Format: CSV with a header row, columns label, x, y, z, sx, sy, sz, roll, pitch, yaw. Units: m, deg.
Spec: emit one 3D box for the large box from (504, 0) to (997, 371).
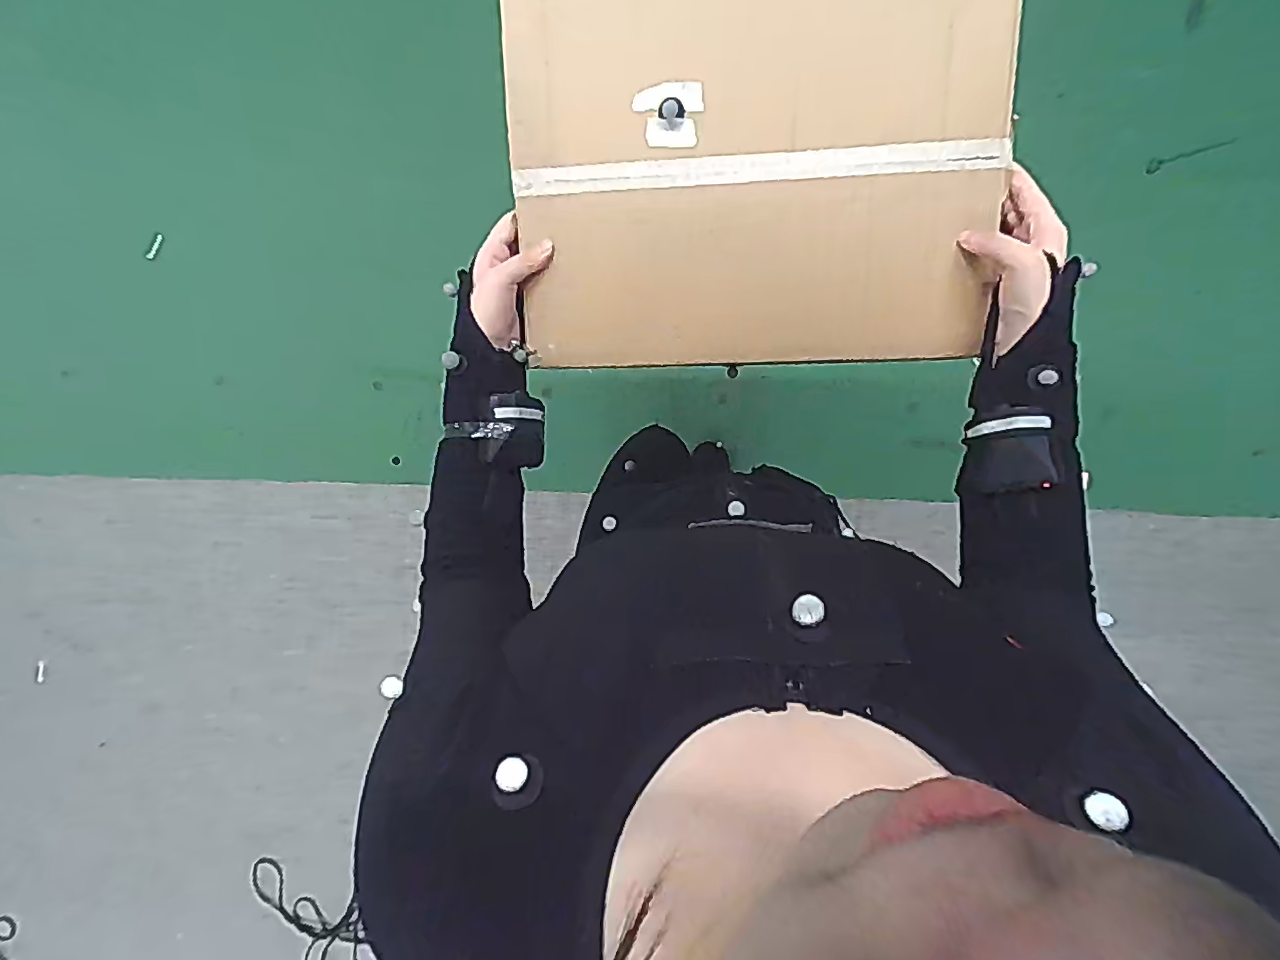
label,x,y,z,sx,sy,sz,roll,pitch,yaw
large box,0.104,-0.294,0.612,0.408,0.320,0.320,-1,102,7
